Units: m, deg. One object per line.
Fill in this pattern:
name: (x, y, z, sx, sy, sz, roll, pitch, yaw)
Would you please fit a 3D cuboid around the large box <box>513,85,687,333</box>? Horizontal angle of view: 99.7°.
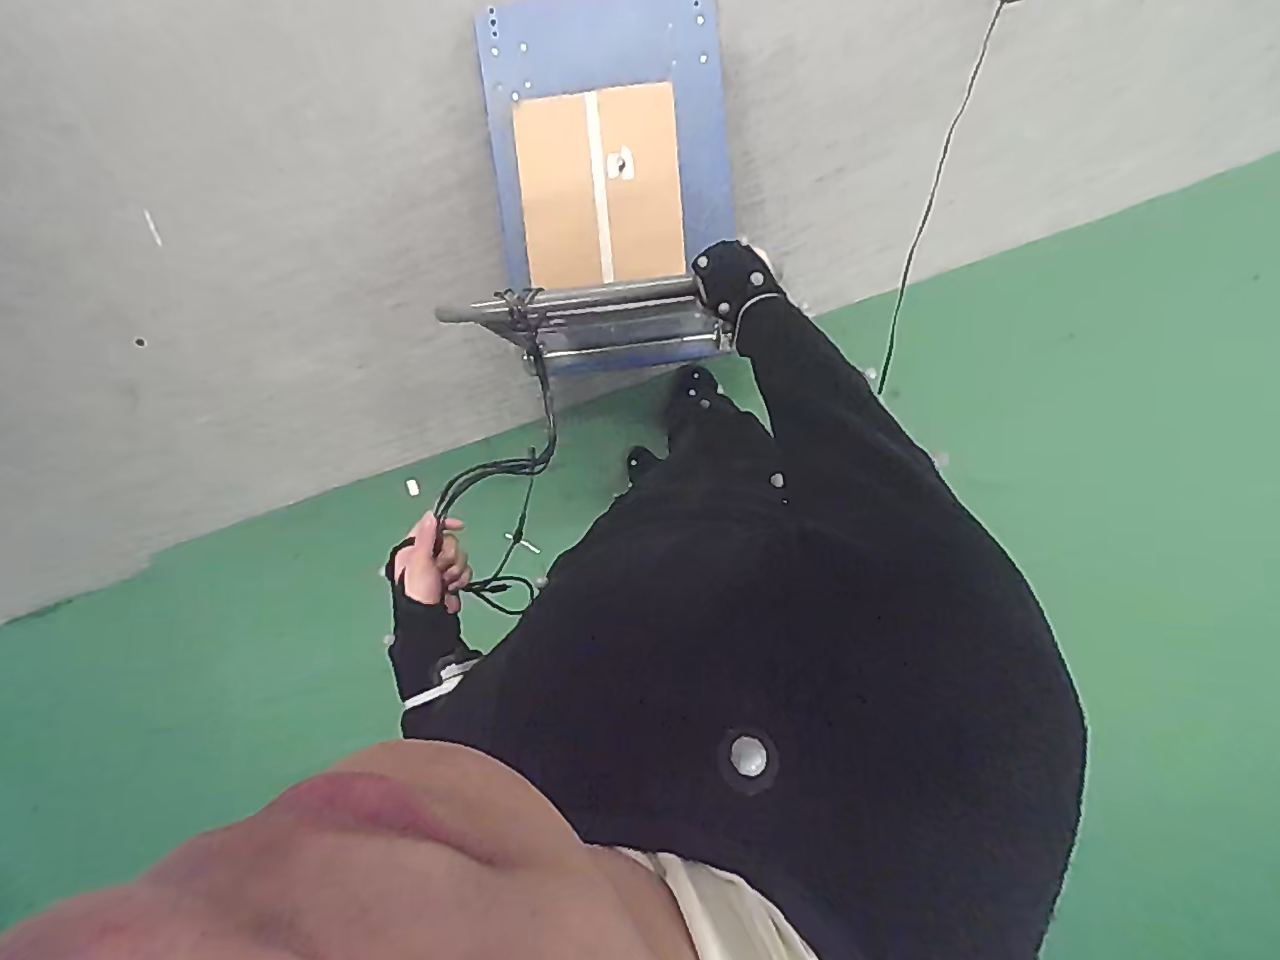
large box: (-0.069, -0.566, 1.212, 0.320, 0.320, 0.408, -4, 98, 3)
